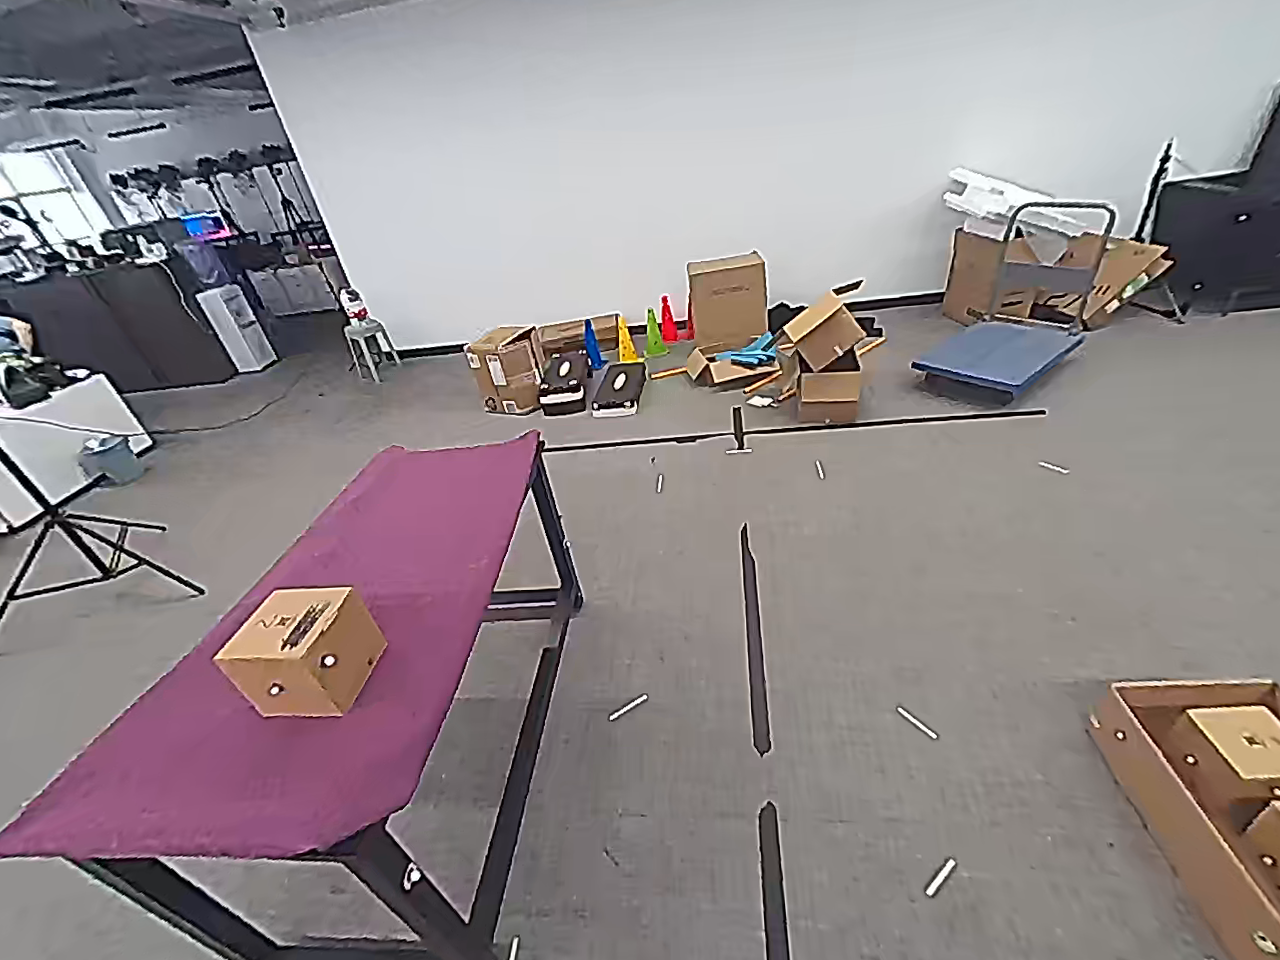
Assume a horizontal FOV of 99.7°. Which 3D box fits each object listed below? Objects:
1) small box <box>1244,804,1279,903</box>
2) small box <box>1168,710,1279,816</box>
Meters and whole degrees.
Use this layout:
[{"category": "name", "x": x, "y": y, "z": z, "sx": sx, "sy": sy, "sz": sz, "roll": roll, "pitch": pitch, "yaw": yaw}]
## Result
[{"category": "small box", "x": 1.400, "y": 0.784, "z": 1.081, "sx": 0.179, "sy": 0.176, "sz": 0.168, "roll": -1, "pitch": 33, "yaw": 13}, {"category": "small box", "x": 1.397, "y": 0.662, "z": 1.262, "sx": 0.179, "sy": 0.176, "sz": 0.168, "roll": -5, "pitch": 35, "yaw": 7}]
